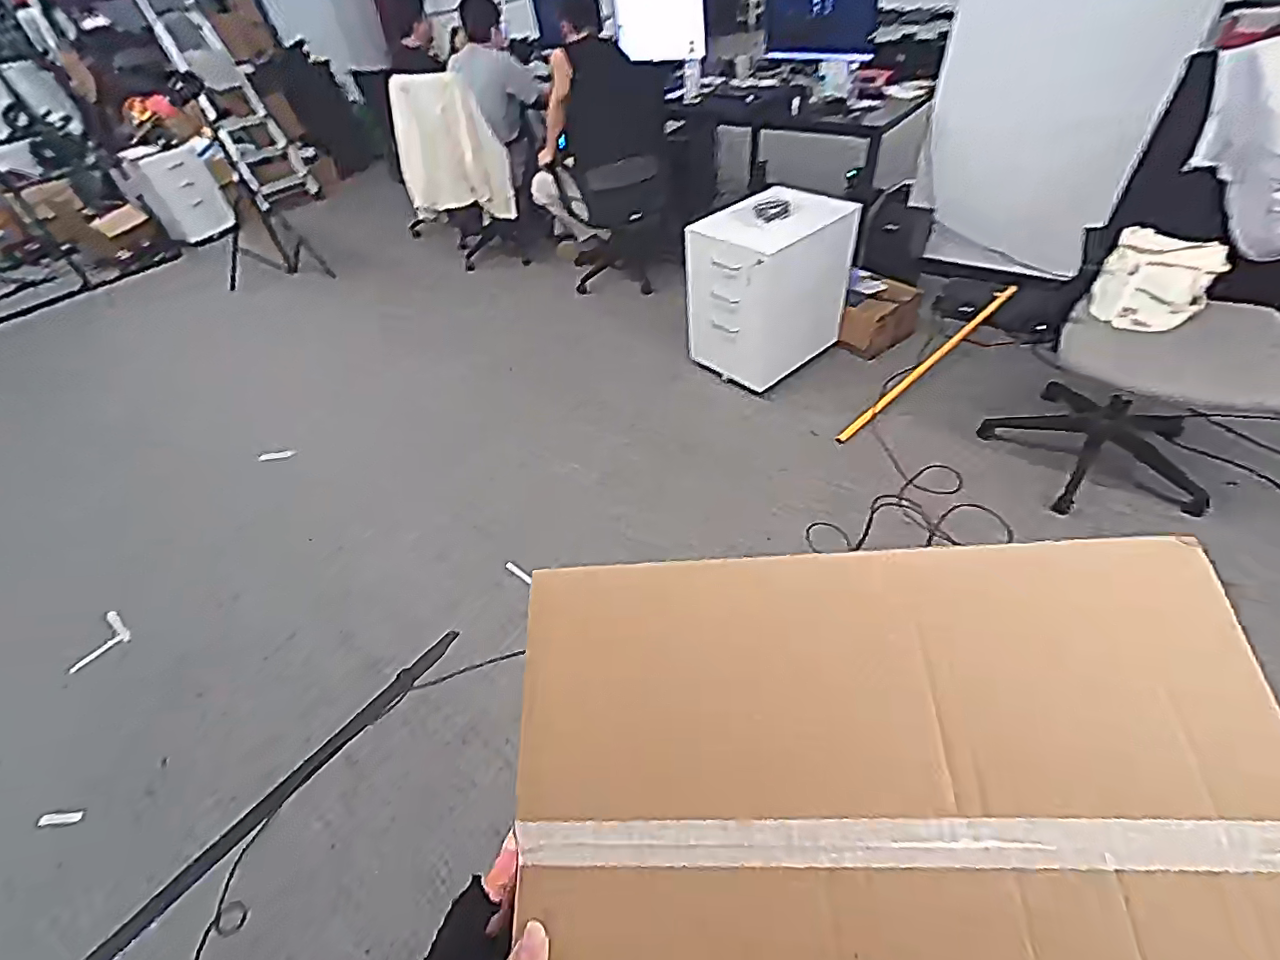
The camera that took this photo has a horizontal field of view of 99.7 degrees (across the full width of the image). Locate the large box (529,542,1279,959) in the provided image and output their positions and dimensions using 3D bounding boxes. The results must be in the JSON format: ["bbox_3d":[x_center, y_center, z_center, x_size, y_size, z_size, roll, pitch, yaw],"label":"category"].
[{"bbox_3d":[0.154,0.254,0.426,0.408,0.320,0.320,-4,67,7],"label":"large box"}]
